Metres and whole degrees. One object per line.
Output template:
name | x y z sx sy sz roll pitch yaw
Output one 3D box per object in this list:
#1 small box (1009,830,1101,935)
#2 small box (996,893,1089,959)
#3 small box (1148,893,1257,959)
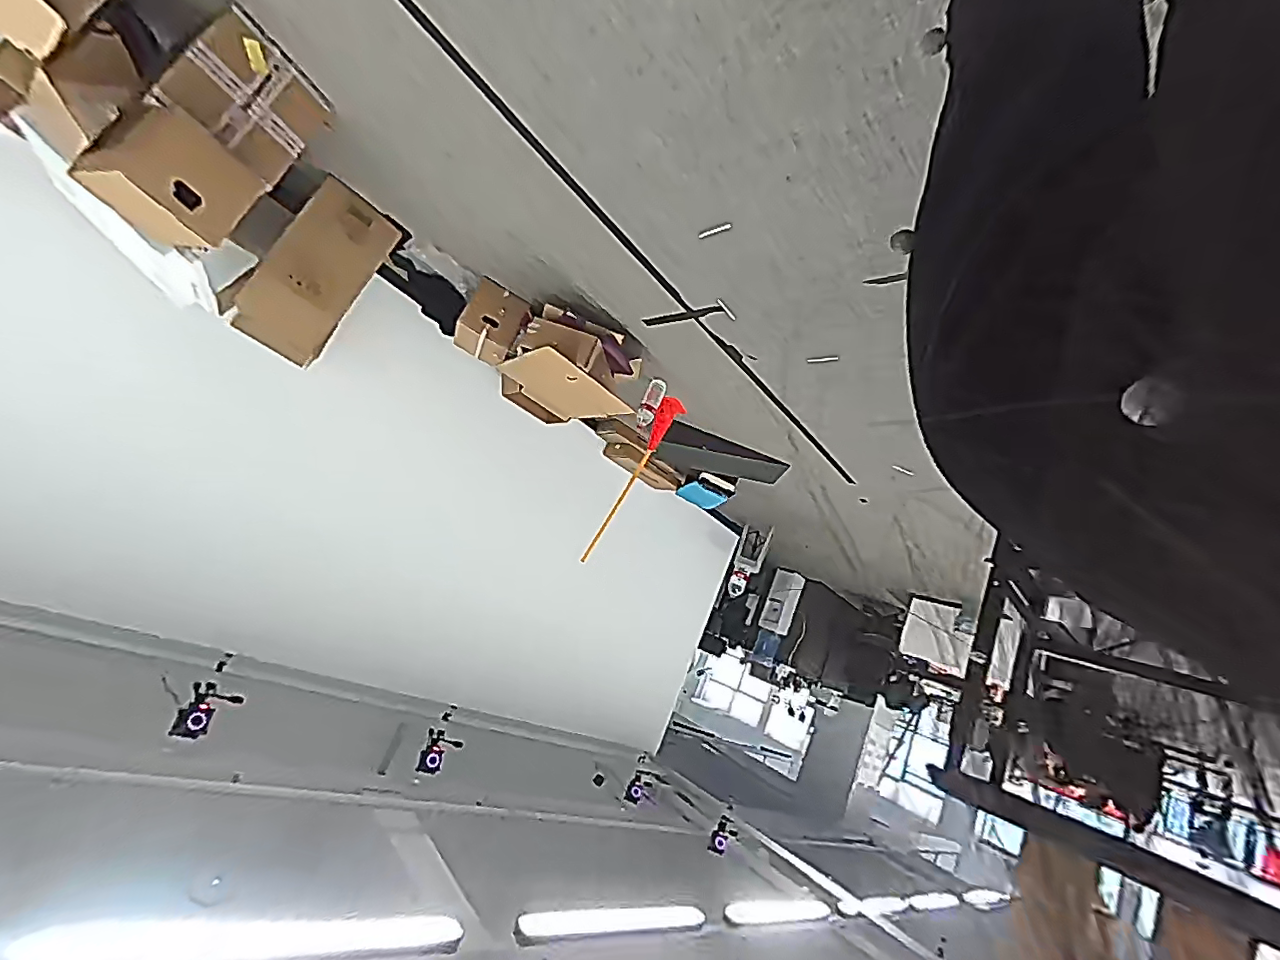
small box | 1.142 1.092 1.483 0.168 0.176 0.179 7 159 47
small box | 1.079 1.238 1.446 0.168 0.176 0.179 8 160 47
small box | 1.322 1.115 1.276 0.179 0.176 0.168 32 165 -39
